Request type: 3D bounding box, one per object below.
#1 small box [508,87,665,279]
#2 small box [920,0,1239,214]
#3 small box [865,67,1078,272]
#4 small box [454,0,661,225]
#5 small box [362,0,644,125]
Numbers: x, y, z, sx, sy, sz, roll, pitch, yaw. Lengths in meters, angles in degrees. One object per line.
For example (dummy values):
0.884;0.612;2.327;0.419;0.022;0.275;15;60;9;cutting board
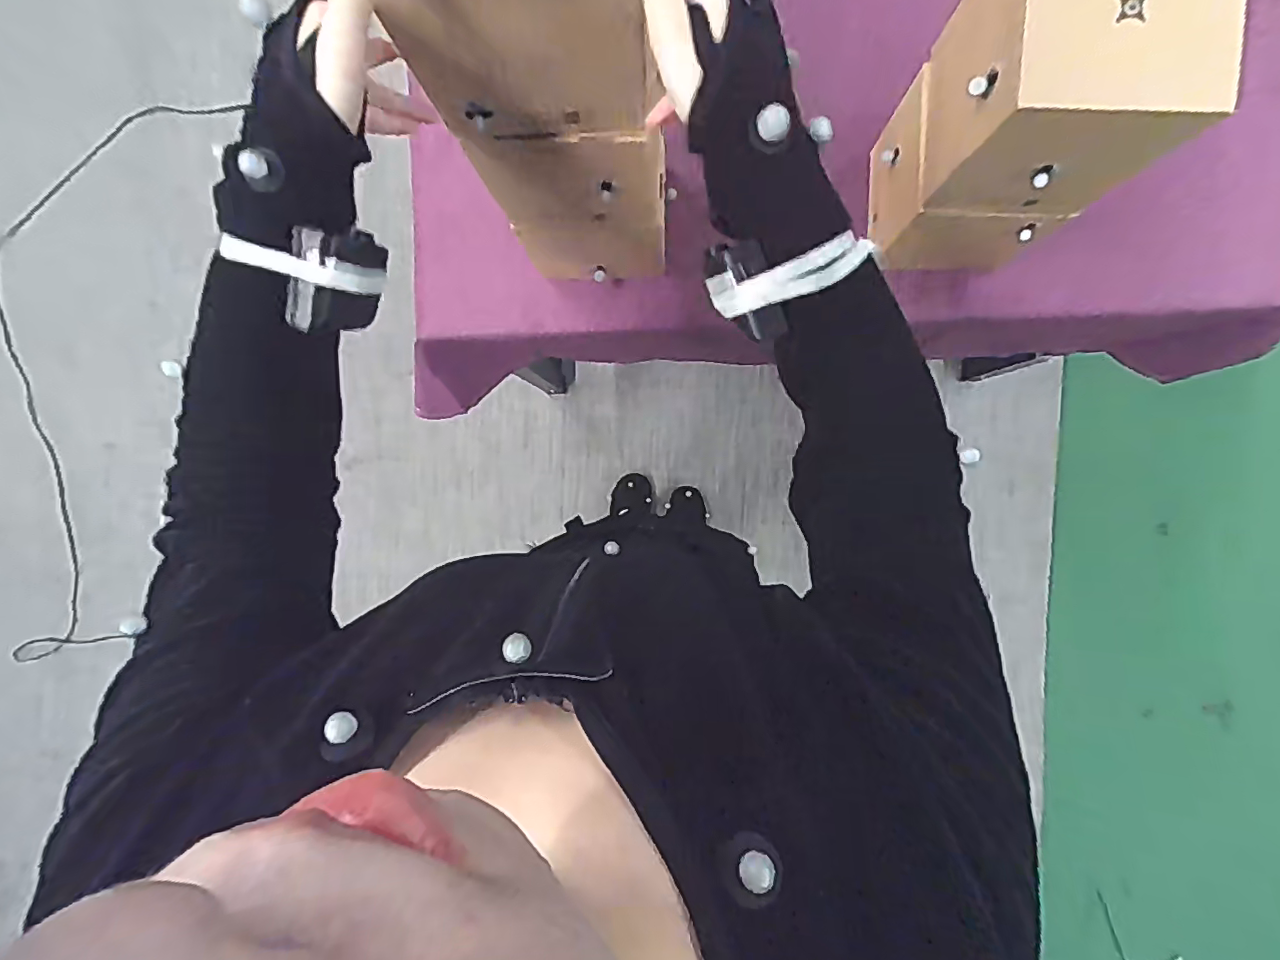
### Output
-0.059;-0.368;0.693;0.179;0.176;0.168;1;91;3;small box
0.383;-0.371;0.502;0.168;0.176;0.179;5;91;3;small box
0.393;-0.368;0.666;0.179;0.176;0.168;2;91;3;small box
-0.067;-0.370;0.529;0.168;0.176;0.179;3;91;3;small box
-0.083;-0.372;0.365;0.168;0.176;0.179;0;90;2;small box
